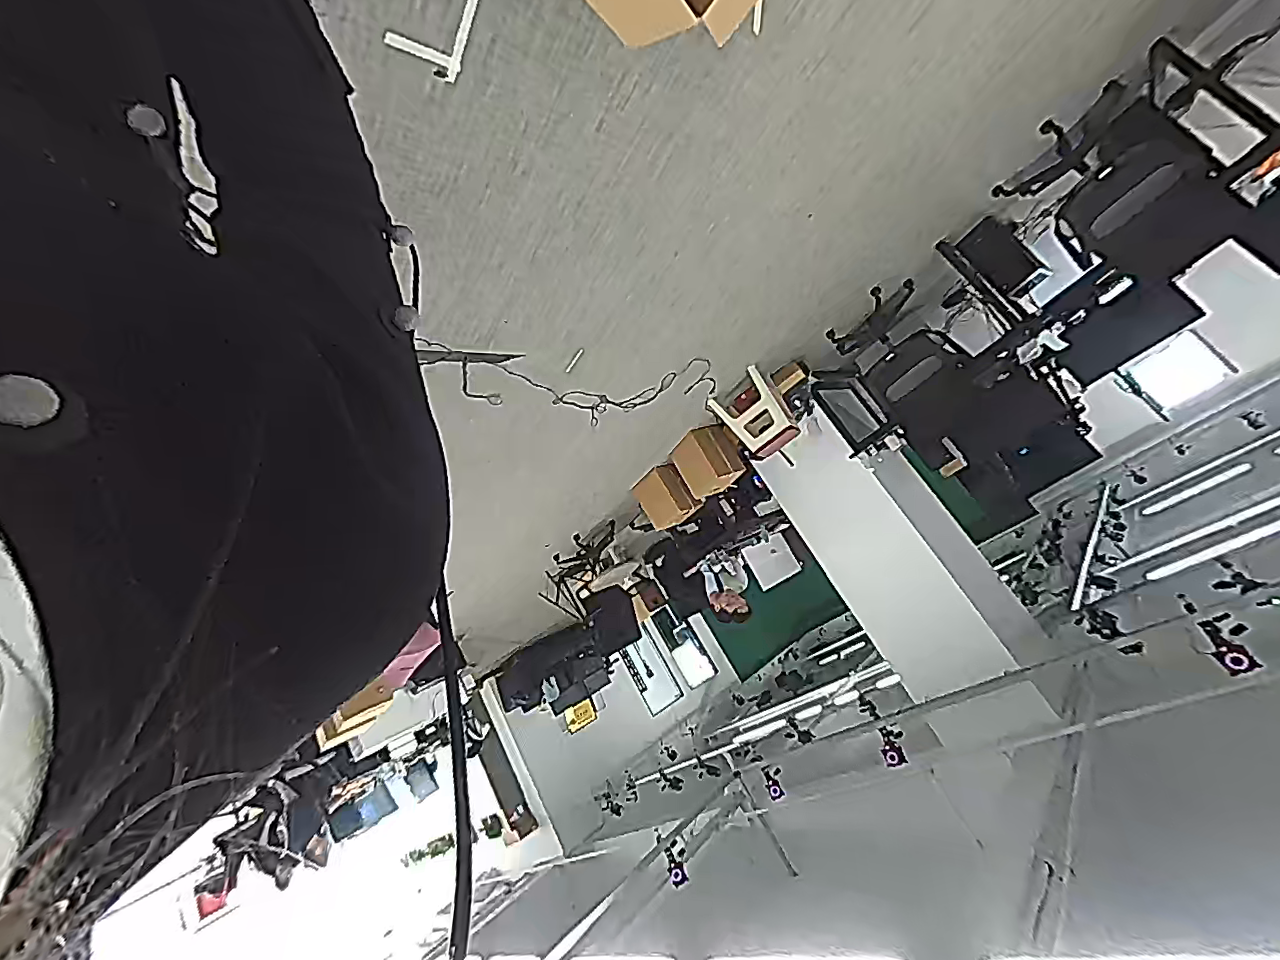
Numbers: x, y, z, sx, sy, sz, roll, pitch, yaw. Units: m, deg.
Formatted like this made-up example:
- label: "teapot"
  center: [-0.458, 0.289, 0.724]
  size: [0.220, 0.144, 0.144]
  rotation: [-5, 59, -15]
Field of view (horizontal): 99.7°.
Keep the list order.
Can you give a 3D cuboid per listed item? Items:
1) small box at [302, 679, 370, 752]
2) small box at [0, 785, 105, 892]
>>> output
- label: "small box"
  center: [-1.153, 0.885, 2.040]
  size: [0.179, 0.176, 0.168]
  rotation: [-14, 156, -44]
- label: "small box"
  center: [-1.621, 0.980, 1.490]
  size: [0.168, 0.176, 0.179]
  rotation: [-44, 158, 32]
